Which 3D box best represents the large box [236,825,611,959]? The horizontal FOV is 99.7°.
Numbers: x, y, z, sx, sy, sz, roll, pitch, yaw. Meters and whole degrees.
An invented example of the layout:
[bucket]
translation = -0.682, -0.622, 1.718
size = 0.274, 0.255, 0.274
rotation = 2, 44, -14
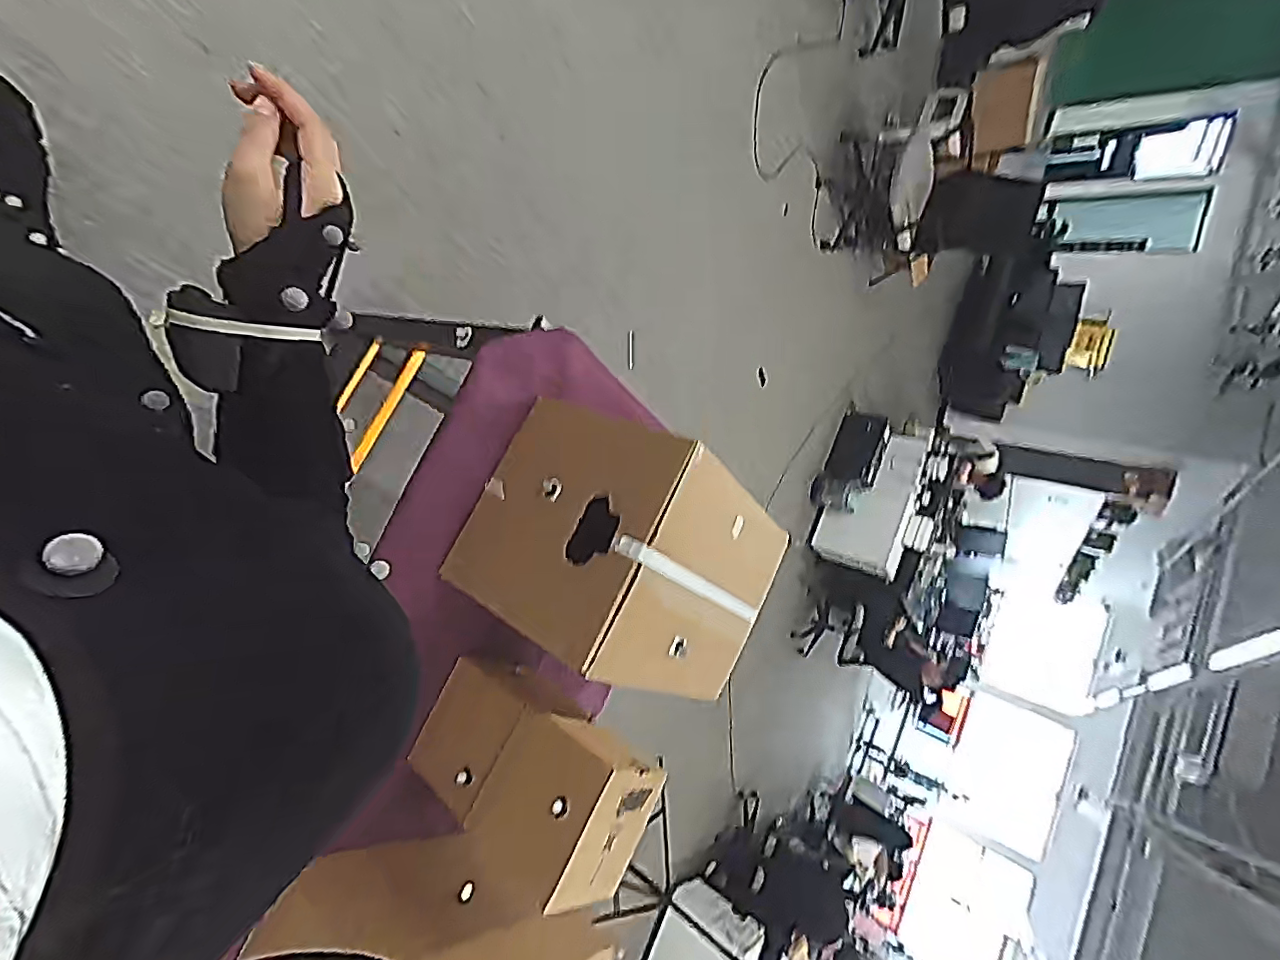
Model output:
[large box]
translation = -0.314, 0.741, 0.747
size = 0.408, 0.320, 0.320
rotation = 39, 73, -53
